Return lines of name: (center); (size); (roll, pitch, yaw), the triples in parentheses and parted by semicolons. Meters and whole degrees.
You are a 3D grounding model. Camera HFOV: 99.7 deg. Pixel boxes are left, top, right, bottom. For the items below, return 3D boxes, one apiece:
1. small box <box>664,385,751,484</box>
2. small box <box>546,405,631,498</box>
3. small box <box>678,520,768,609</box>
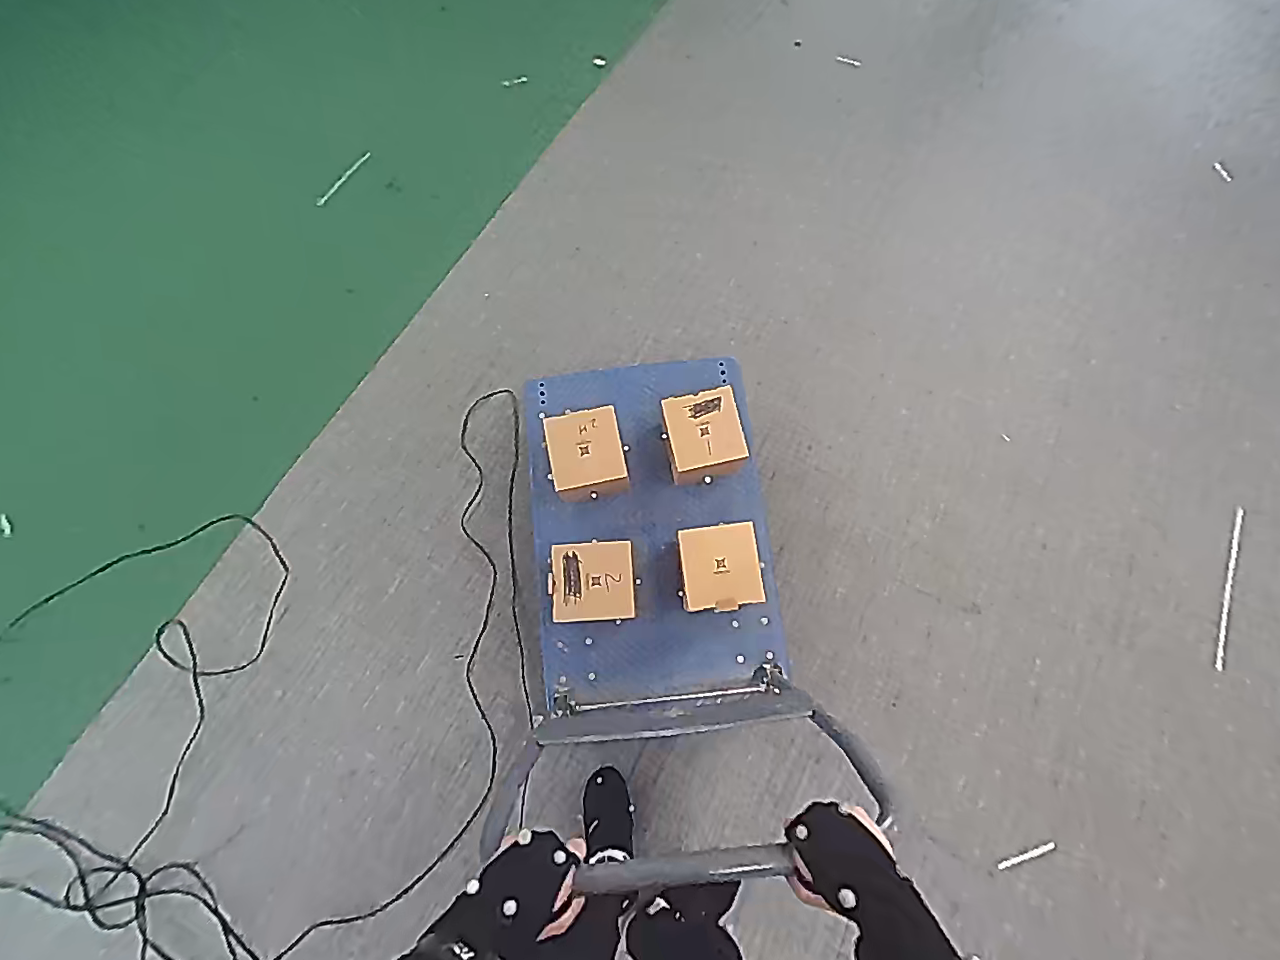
small box: (0.153, -0.104, 1.293); (0.168, 0.176, 0.179); (-12, 79, -1)
small box: (-0.117, -0.059, 1.290); (0.168, 0.176, 0.179); (-12, 78, -2)
small box: (0.180, 0.196, 1.229); (0.168, 0.176, 0.179); (-8, 78, 0)
